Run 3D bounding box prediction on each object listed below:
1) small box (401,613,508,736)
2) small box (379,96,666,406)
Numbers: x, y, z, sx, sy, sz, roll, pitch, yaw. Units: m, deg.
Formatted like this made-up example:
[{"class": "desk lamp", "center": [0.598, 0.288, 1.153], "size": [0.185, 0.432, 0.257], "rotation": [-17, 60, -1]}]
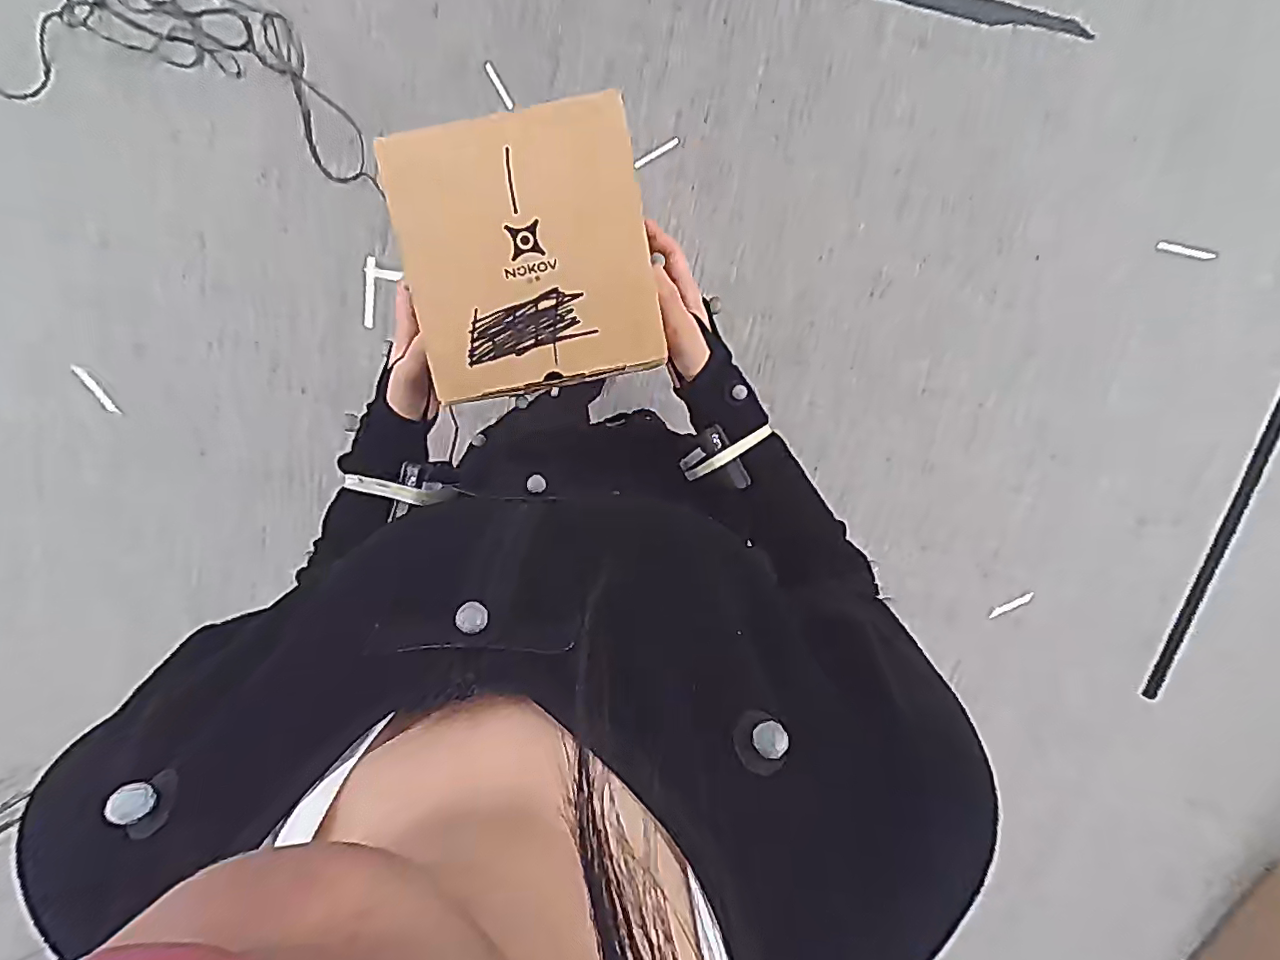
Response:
[{"class": "small box", "center": [-0.391, 0.410, 1.166], "size": [0.168, 0.176, 0.179], "rotation": [12, 102, -4]}, {"class": "small box", "center": [-0.076, -0.163, 0.439], "size": [0.168, 0.176, 0.179], "rotation": [-10, 100, -1]}]
